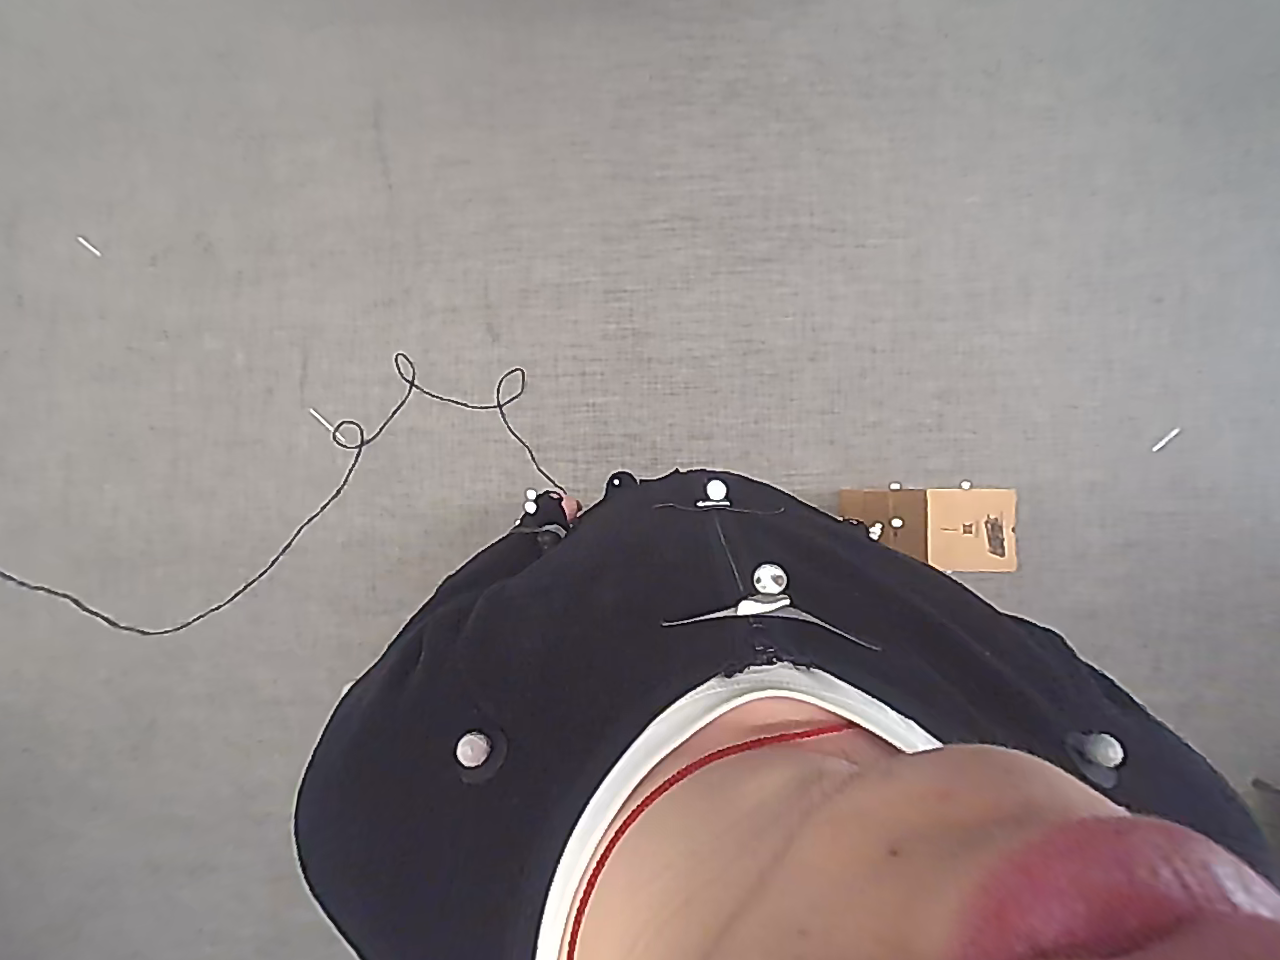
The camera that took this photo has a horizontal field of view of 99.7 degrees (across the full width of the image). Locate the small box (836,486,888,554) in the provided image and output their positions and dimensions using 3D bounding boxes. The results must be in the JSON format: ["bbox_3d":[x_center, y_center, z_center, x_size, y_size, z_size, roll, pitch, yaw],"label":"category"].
[{"bbox_3d":[0.651,0.107,1.486,0.168,0.176,0.179,0,90,0],"label":"small box"}]

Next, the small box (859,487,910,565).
[{"bbox_3d":[0.650,0.106,1.325,0.168,0.176,0.179,-1,92,1],"label":"small box"}]

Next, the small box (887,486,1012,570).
[{"bbox_3d":[0.655,0.097,1.159,0.179,0.176,0.168,1,89,1],"label":"small box"}]
